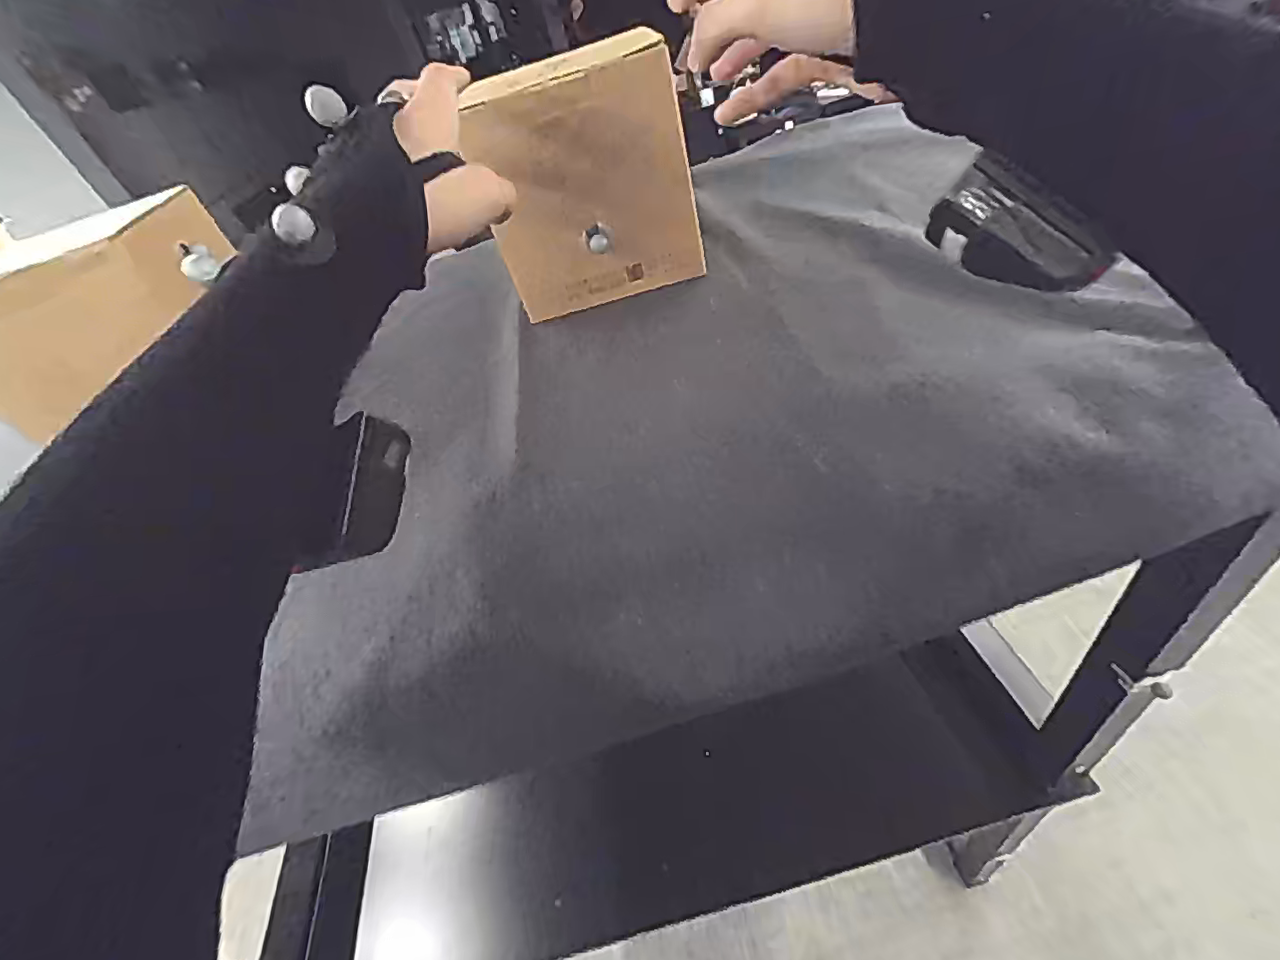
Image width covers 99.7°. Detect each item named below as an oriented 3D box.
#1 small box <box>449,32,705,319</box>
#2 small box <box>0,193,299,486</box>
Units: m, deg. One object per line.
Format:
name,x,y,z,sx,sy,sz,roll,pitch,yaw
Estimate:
small box,-0.045,-0.272,0.489,0.168,0.176,0.179,-14,43,6
small box,-0.443,-0.126,0.483,0.168,0.176,0.179,-22,43,-4
